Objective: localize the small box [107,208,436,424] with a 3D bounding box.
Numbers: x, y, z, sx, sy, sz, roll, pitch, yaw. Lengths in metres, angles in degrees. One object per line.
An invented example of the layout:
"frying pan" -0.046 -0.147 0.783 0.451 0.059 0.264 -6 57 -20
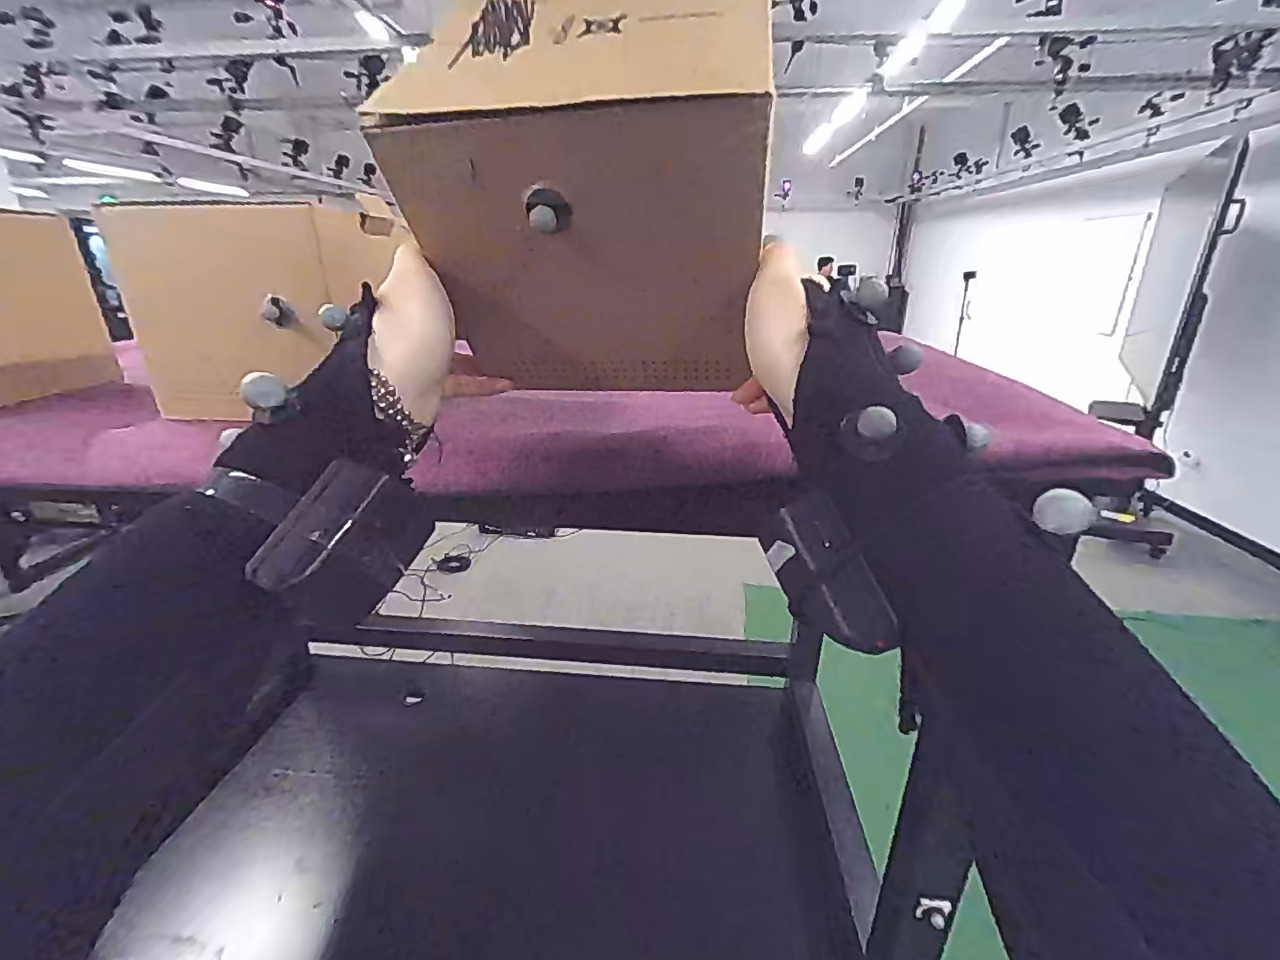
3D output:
"small box" -0.310 -0.150 0.503 0.179 0.176 0.168 1 20 4

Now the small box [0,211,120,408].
"small box" -0.653 -0.156 0.500 0.168 0.176 0.179 3 21 2

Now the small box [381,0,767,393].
"small box" -0.014 -0.170 0.340 0.179 0.176 0.168 2 56 9
